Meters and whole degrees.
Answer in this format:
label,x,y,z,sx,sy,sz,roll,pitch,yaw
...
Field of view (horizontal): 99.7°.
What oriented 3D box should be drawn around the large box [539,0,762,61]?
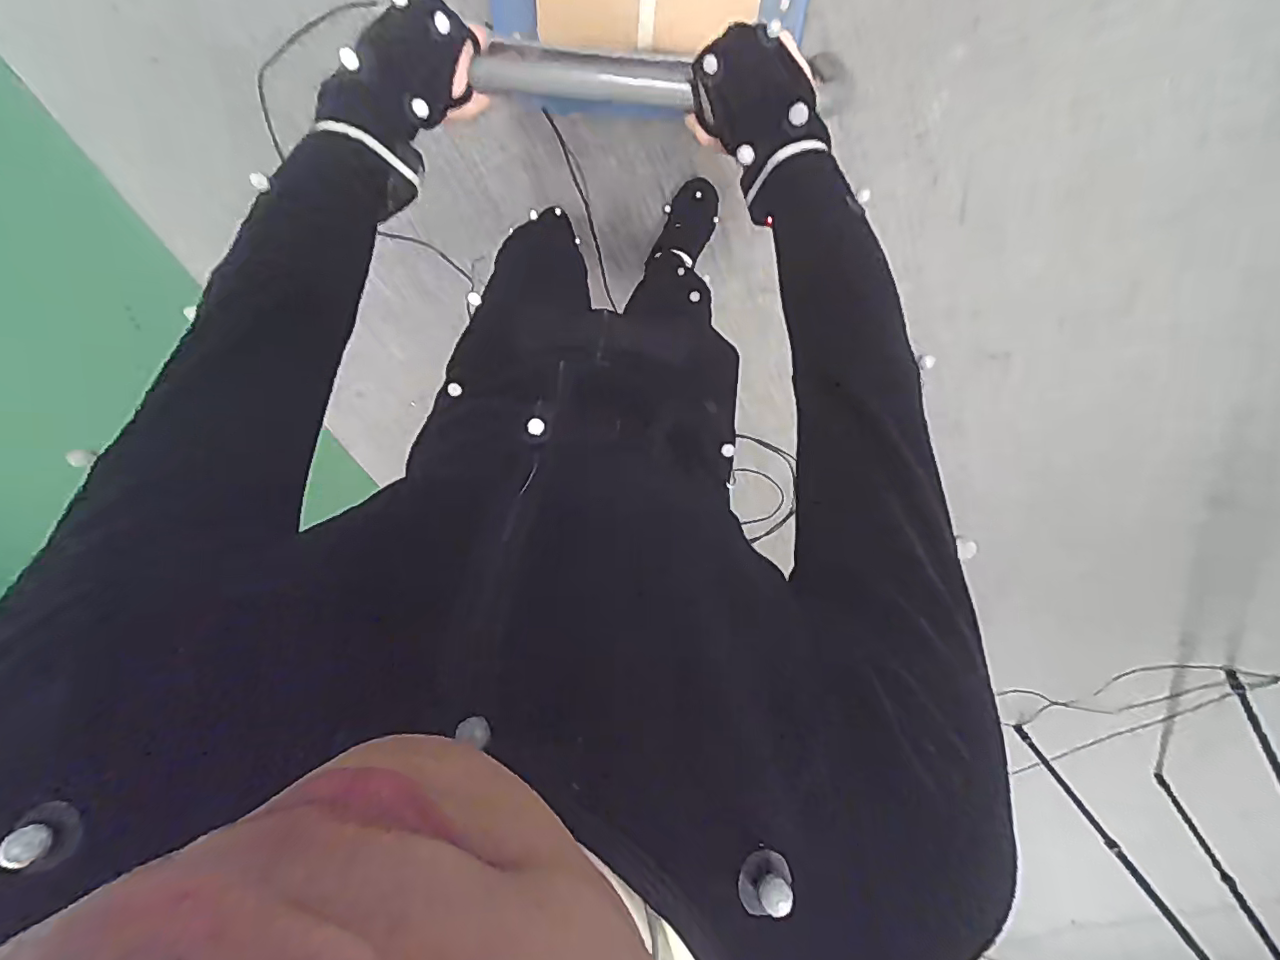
label,x,y,z,sx,sy,sz,roll,pitch,yaw
large box,0.035,-0.872,0.783,0.320,0.320,0.408,6,126,1
